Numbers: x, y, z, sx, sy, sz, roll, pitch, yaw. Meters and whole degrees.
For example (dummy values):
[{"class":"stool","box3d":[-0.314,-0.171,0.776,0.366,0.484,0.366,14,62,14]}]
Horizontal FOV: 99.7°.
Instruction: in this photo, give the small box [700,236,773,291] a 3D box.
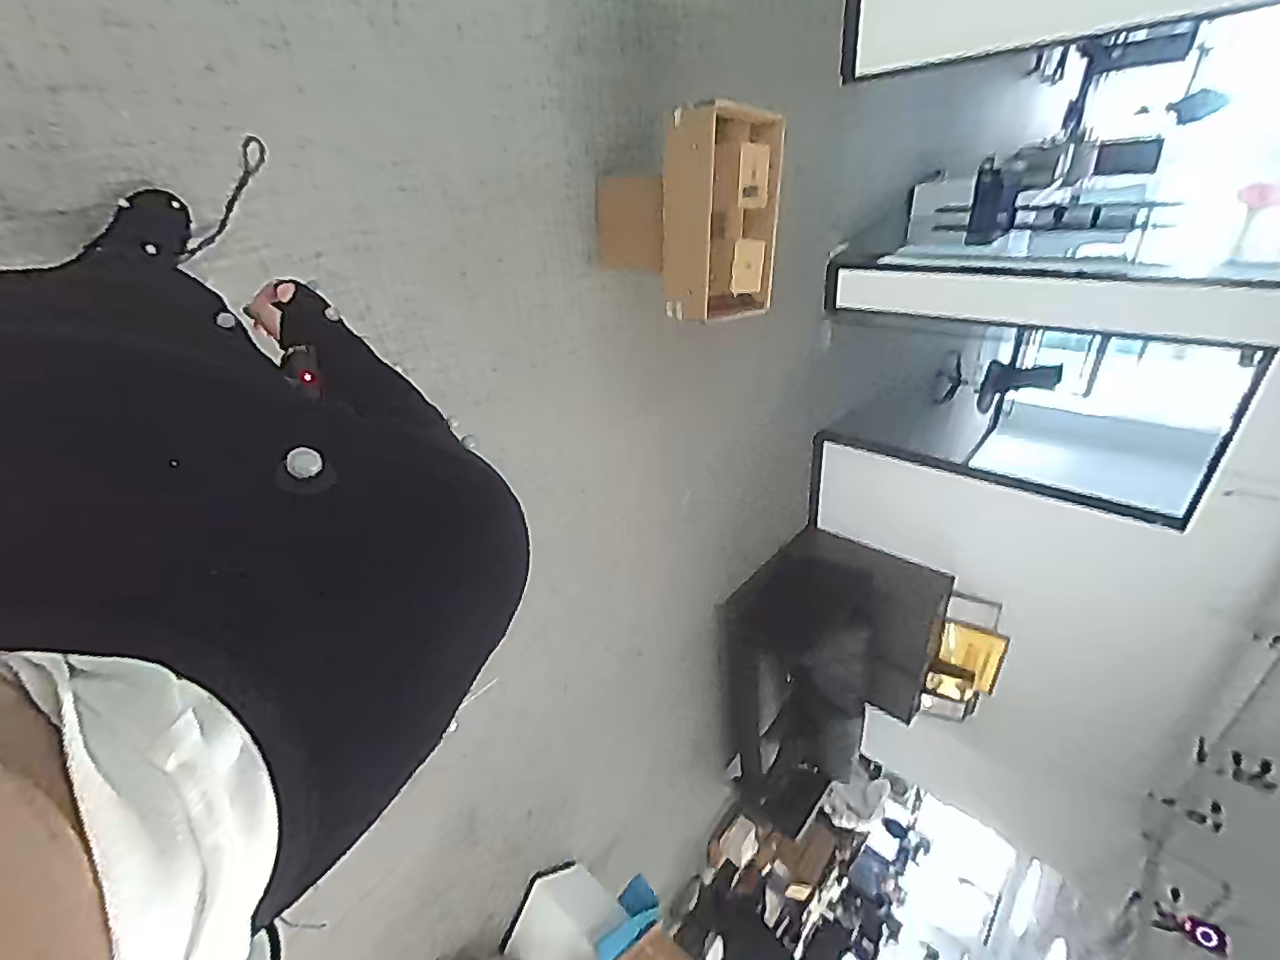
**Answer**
[{"class":"small box","box3d":[0.323,-0.733,1.832,0.179,0.176,0.168,-19,122,-42]}]
